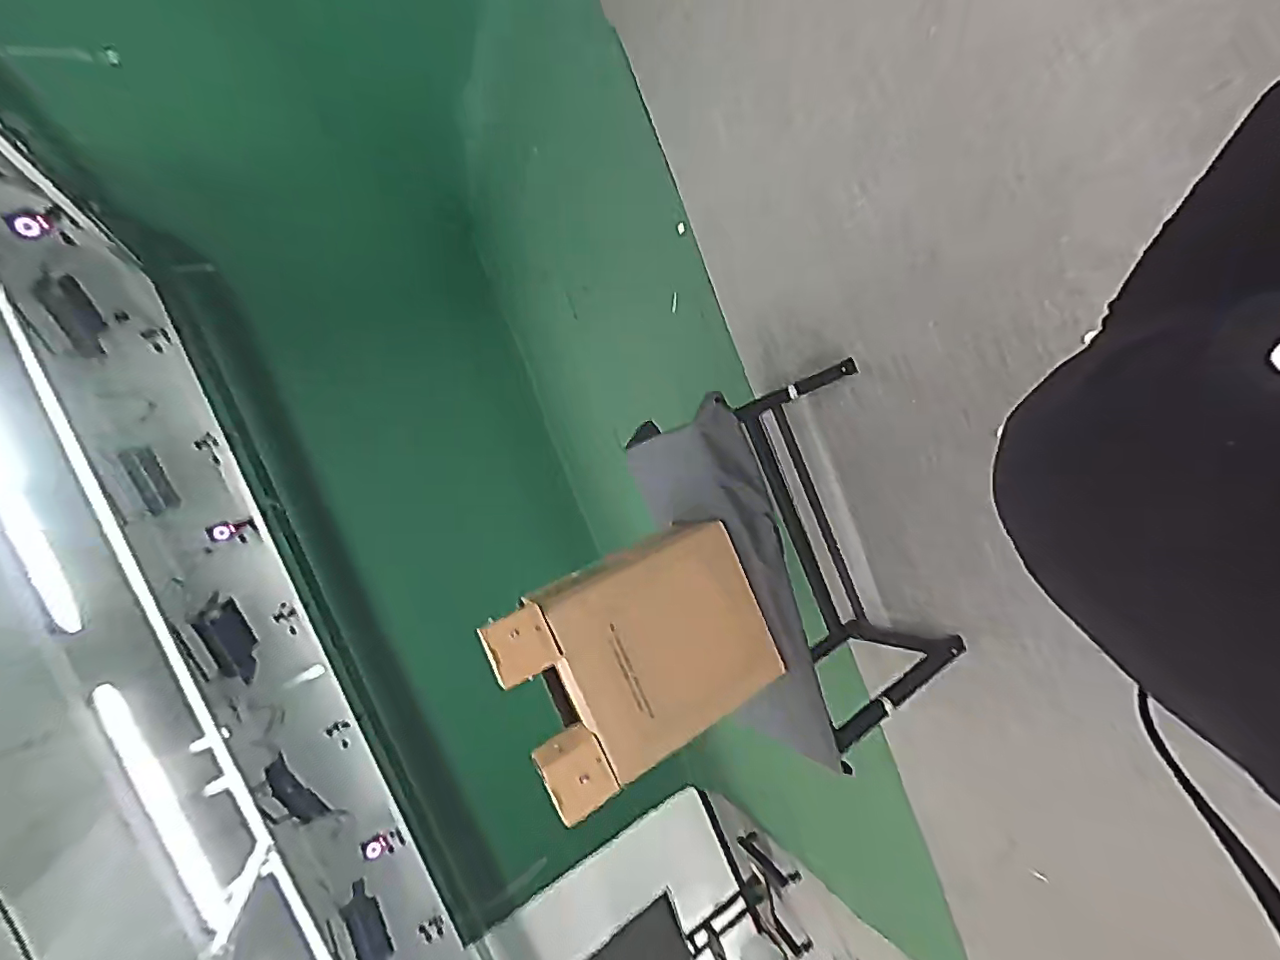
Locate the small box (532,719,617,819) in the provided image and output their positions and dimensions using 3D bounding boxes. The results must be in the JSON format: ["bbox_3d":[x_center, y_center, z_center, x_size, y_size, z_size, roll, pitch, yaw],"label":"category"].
[{"bbox_3d":[-0.186,0.815,1.549,0.168,0.176,0.179,65,156,0],"label":"small box"}]

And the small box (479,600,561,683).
[{"bbox_3d":[-0.338,0.449,1.525,0.168,0.176,0.179,66,158,5],"label":"small box"}]
